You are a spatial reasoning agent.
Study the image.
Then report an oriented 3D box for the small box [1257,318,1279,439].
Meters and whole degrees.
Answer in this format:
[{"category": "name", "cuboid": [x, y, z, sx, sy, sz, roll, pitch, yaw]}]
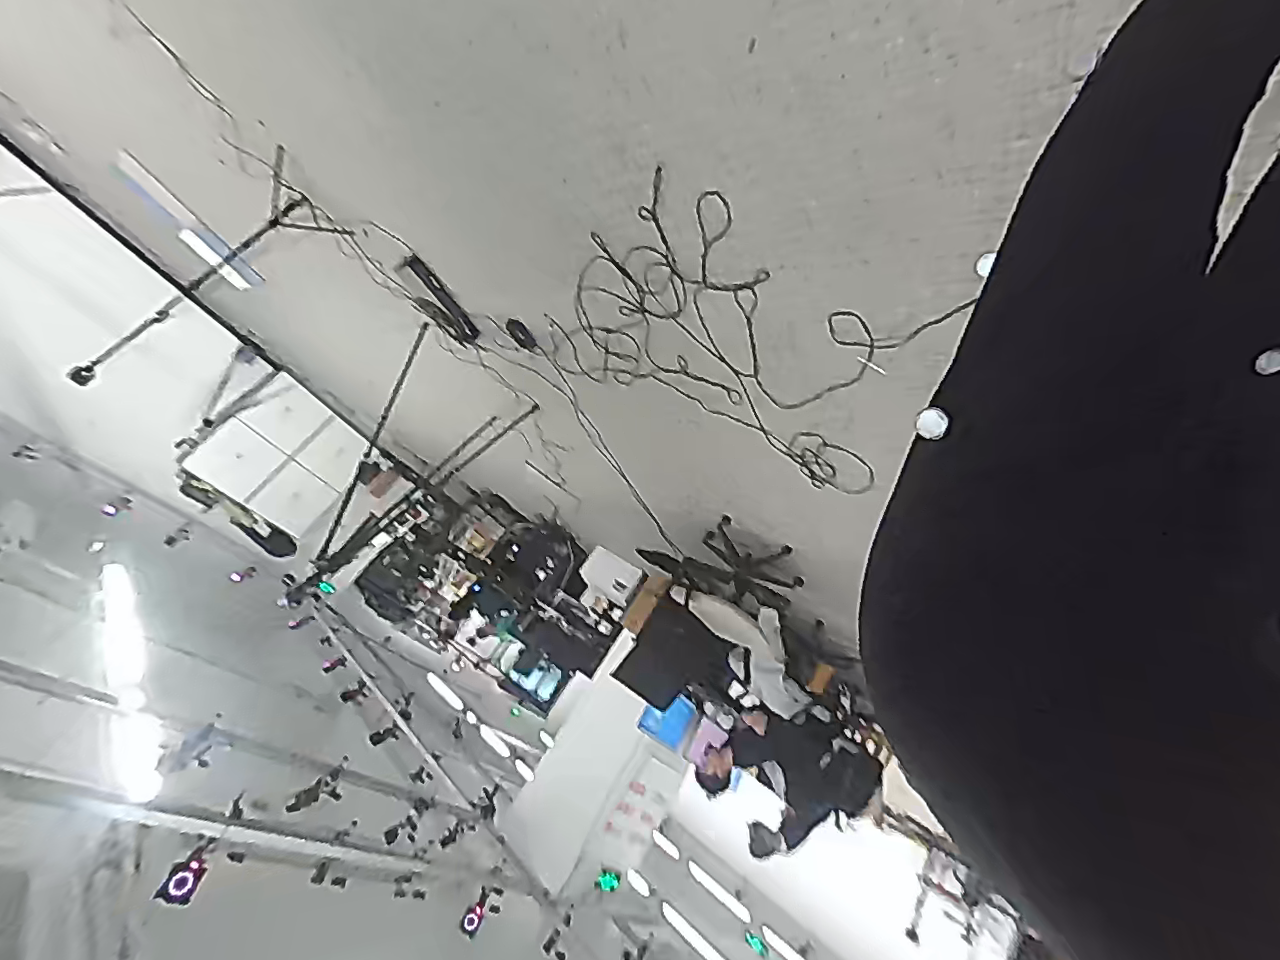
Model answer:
[{"category": "small box", "cuboid": [1.157, -0.176, 0.880, 0.179, 0.176, 0.168, 11, 149, 46]}]
